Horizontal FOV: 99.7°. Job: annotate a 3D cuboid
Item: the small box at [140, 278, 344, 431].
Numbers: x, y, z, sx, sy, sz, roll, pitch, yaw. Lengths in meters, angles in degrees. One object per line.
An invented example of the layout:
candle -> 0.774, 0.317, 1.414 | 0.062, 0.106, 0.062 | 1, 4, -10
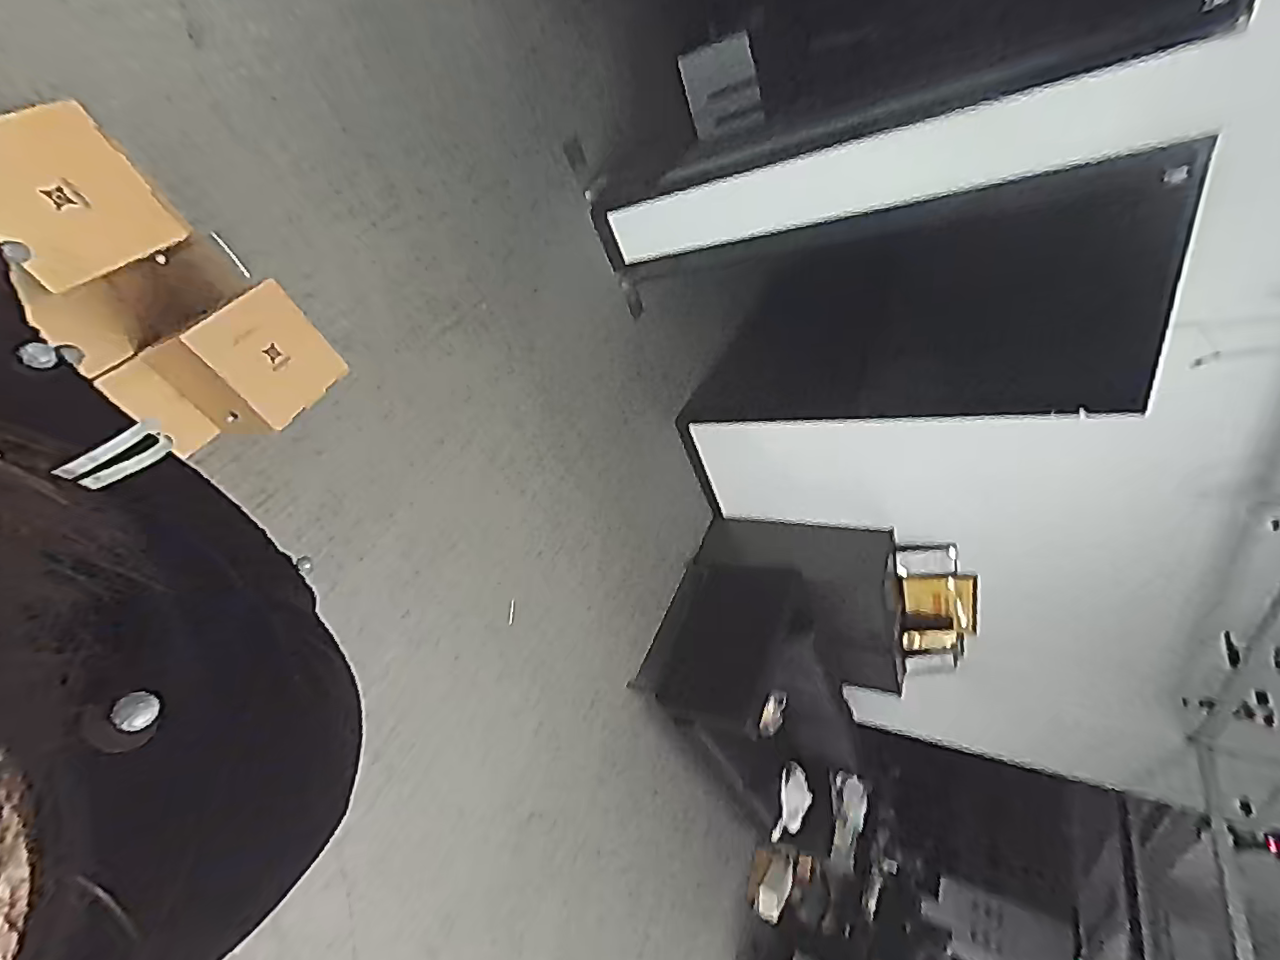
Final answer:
small box -> -0.637, -0.195, 0.874 | 0.168, 0.176, 0.179 | -61, 137, -37

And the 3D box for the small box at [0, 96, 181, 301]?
small box -> -0.751, -0.344, 0.680 | 0.179, 0.176, 0.168 | -58, 139, -37
